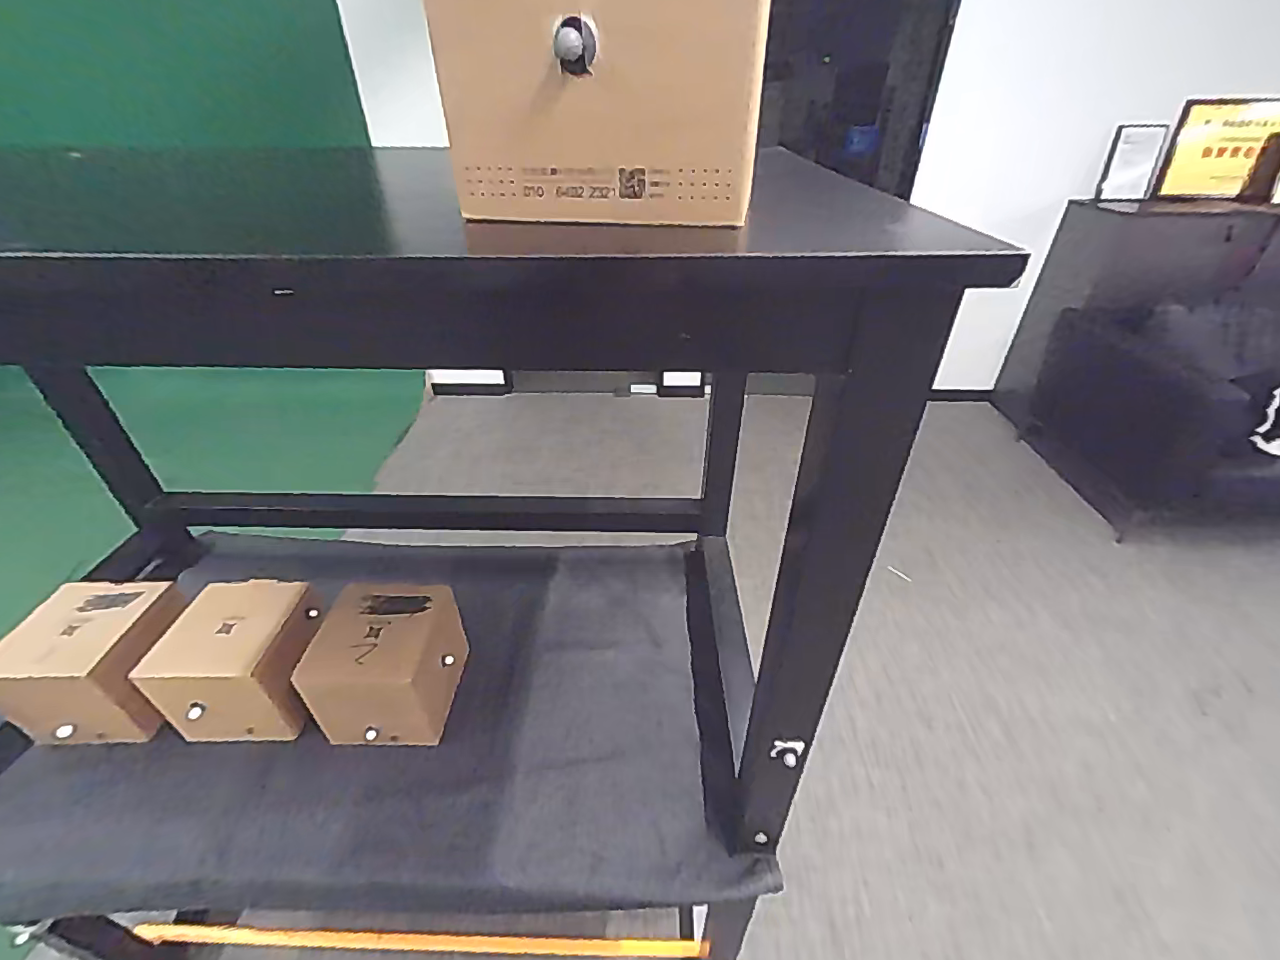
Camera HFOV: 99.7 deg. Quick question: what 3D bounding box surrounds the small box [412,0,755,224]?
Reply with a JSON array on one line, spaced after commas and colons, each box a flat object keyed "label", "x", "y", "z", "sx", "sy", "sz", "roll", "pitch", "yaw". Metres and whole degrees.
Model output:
[{"label": "small box", "x": -0.018, "y": -0.261, "z": 0.329, "sx": 0.168, "sy": 0.176, "sz": 0.179, "roll": 6, "pitch": 35, "yaw": 10}]

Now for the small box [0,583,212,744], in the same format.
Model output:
[{"label": "small box", "x": -0.817, "y": 0.282, "z": 0.840, "sx": 0.168, "sy": 0.176, "sz": 0.179, "roll": -1, "pitch": 36, "yaw": -1}]
